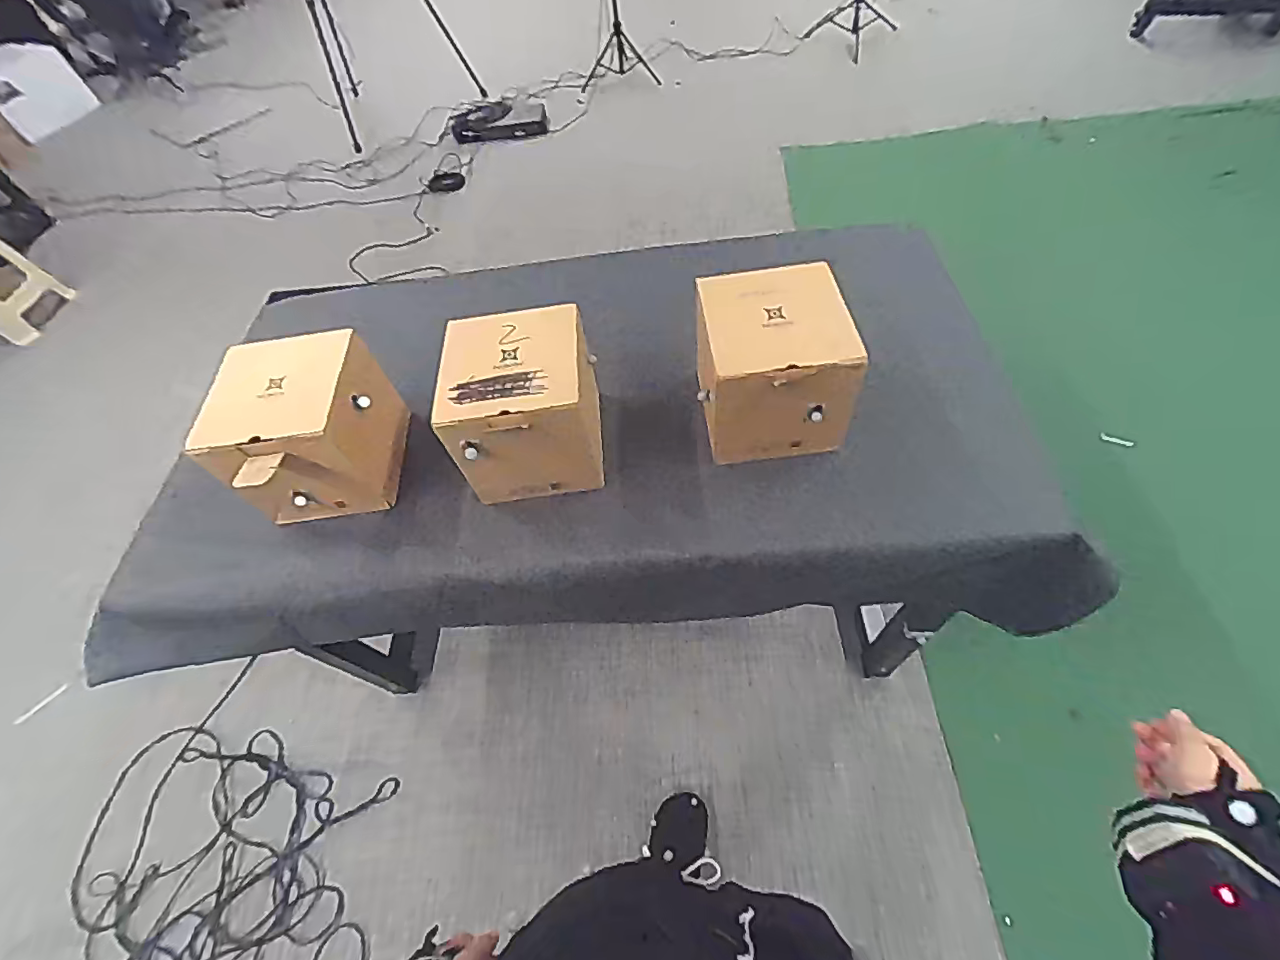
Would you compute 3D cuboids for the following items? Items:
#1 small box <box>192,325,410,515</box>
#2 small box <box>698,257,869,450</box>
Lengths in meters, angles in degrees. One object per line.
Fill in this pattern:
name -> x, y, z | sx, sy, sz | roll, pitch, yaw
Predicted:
small box -> -0.426, -0.076, 0.719 | 0.168, 0.176, 0.179 | -8, 57, 1
small box -> 0.168, -0.153, 0.694 | 0.168, 0.176, 0.179 | -7, 55, 2
